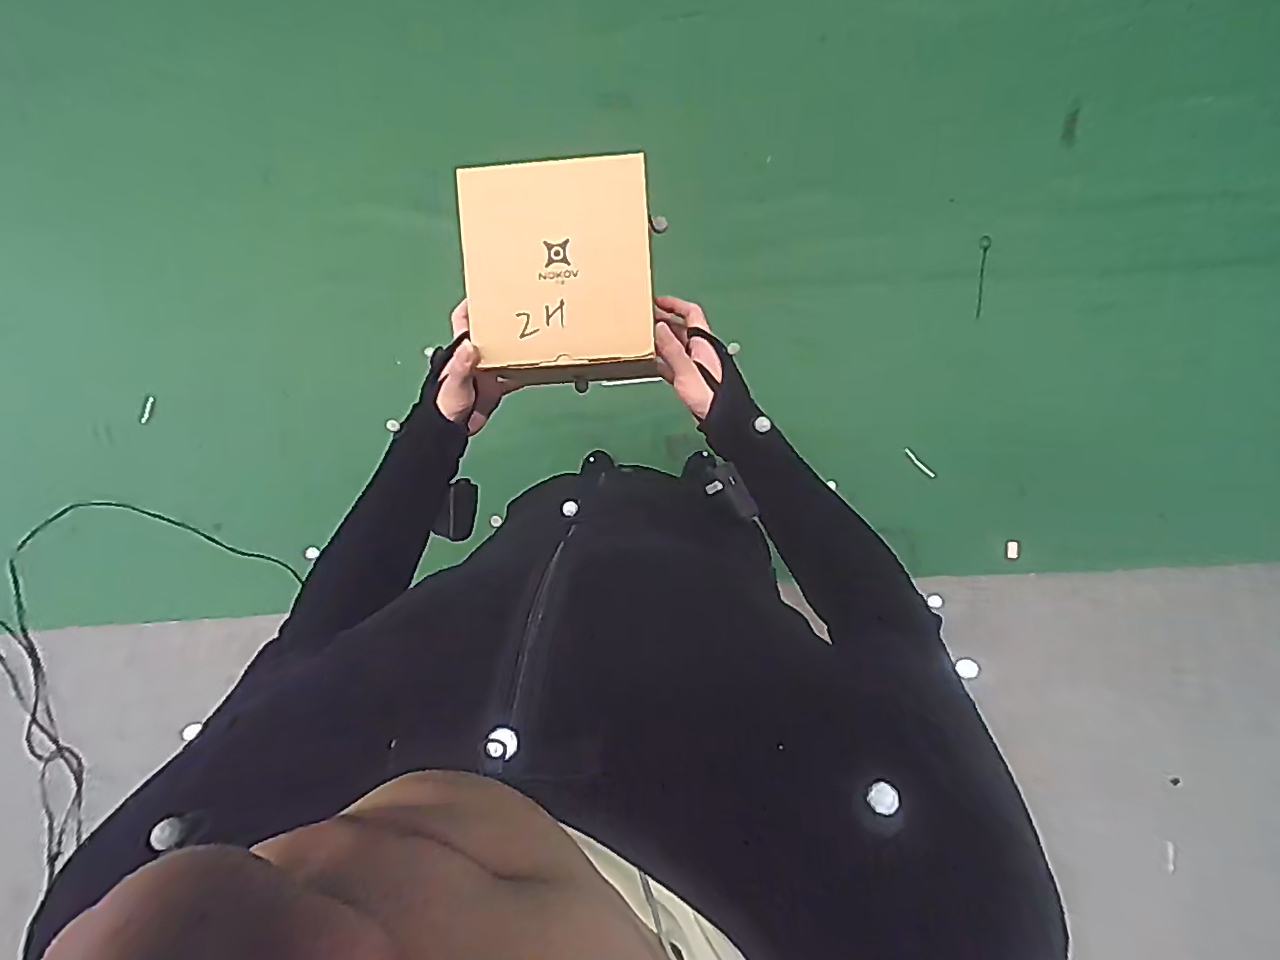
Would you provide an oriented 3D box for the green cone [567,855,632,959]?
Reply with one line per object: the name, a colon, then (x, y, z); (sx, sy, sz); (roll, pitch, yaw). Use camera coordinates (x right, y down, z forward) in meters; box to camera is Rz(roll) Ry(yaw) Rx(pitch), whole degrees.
green cone: (-0.139, 1.299, 1.550); (0.202, 0.368, 0.200); (-4, 93, 4)
